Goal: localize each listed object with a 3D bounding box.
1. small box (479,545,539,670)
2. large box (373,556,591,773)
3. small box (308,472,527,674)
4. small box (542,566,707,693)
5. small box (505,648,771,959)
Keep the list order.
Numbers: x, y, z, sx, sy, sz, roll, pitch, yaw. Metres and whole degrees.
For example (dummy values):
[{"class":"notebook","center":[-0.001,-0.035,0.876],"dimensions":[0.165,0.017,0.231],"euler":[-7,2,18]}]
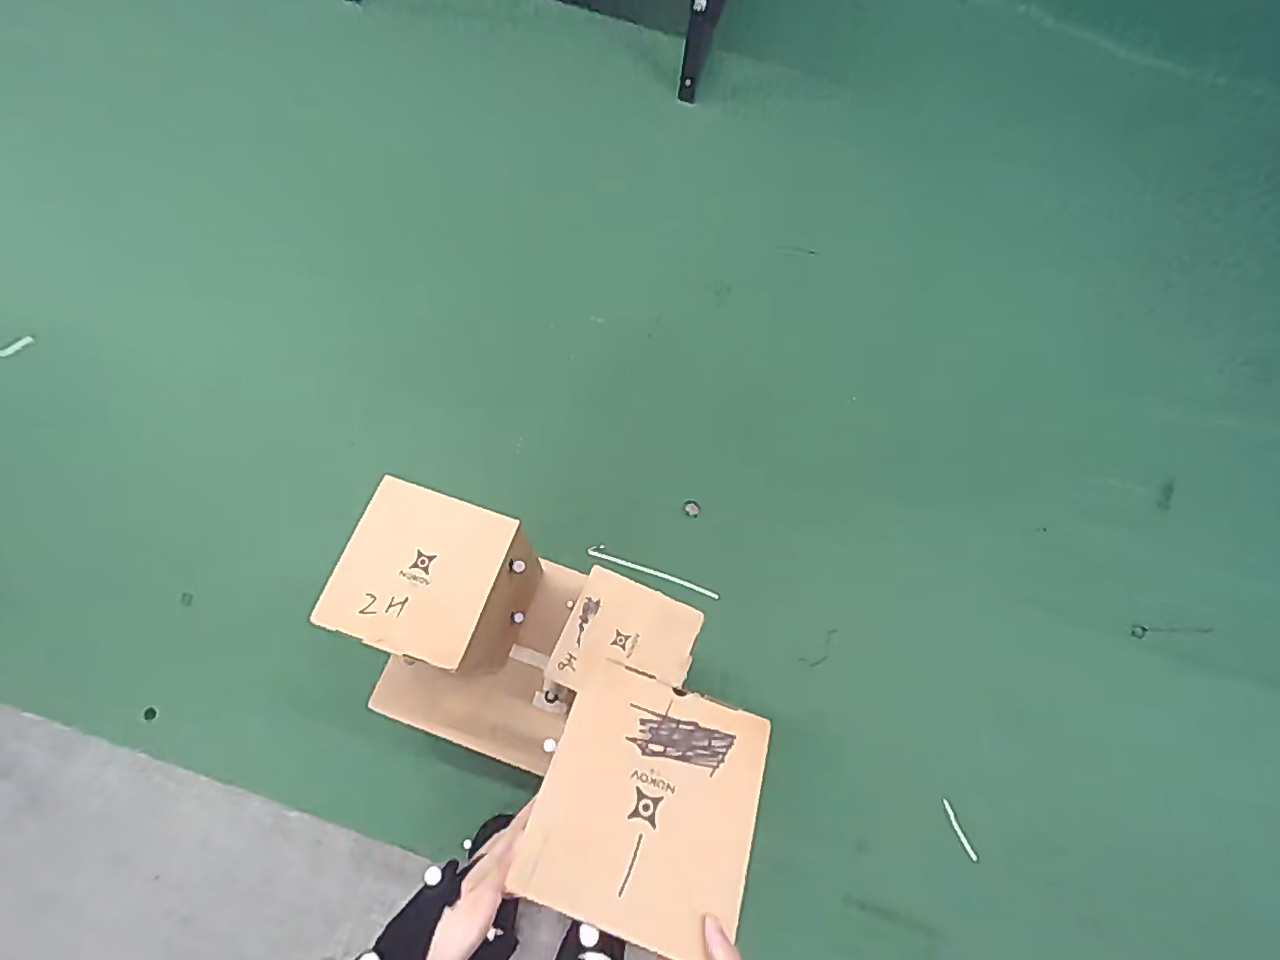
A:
[{"class":"small box","center":[-0.260,0.172,0.810],"dimensions":[0.168,0.176,0.179],"euler":[20,70,2]},{"class":"large box","center":[-0.194,0.332,1.016],"dimensions":[0.408,0.320,0.320],"euler":[20,71,2]},{"class":"small box","center":[-0.246,0.120,0.654],"dimensions":[0.168,0.176,0.179],"euler":[19,70,2]},{"class":"small box","center":[-0.023,0.248,0.799],"dimensions":[0.179,0.176,0.168],"euler":[24,70,5]},{"class":"small box","center":[-0.002,0.281,0.476],"dimensions":[0.168,0.176,0.179],"euler":[19,55,6]}]
